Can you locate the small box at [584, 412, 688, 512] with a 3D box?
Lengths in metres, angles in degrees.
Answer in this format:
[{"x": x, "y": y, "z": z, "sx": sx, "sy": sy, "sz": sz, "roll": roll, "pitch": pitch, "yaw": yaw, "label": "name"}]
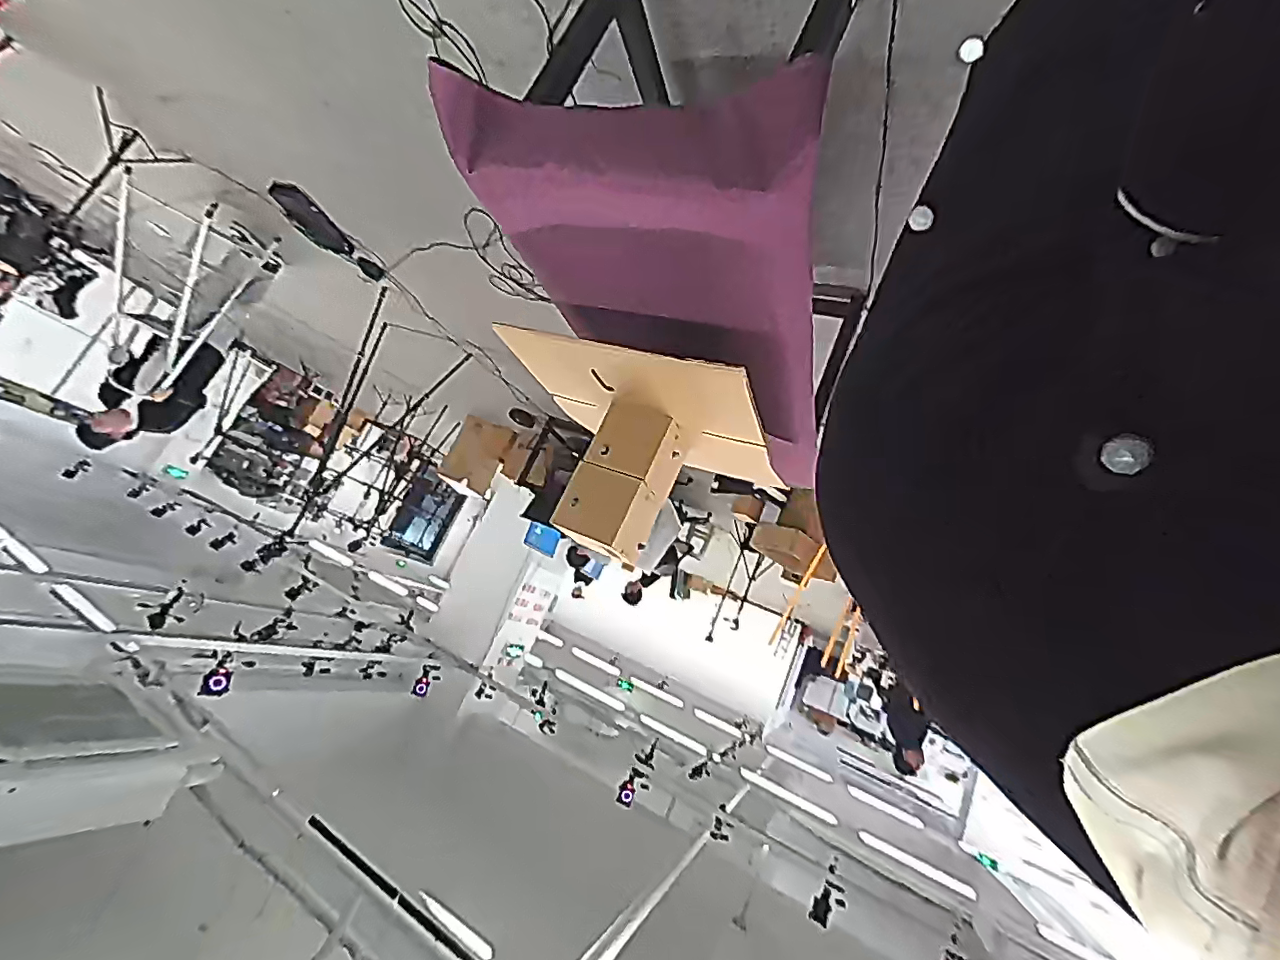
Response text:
[{"x": -0.005, "y": -0.048, "z": 1.333, "sx": 0.179, "sy": 0.176, "sz": 0.168, "roll": 17, "pitch": 163, "yaw": 25, "label": "small box"}]
